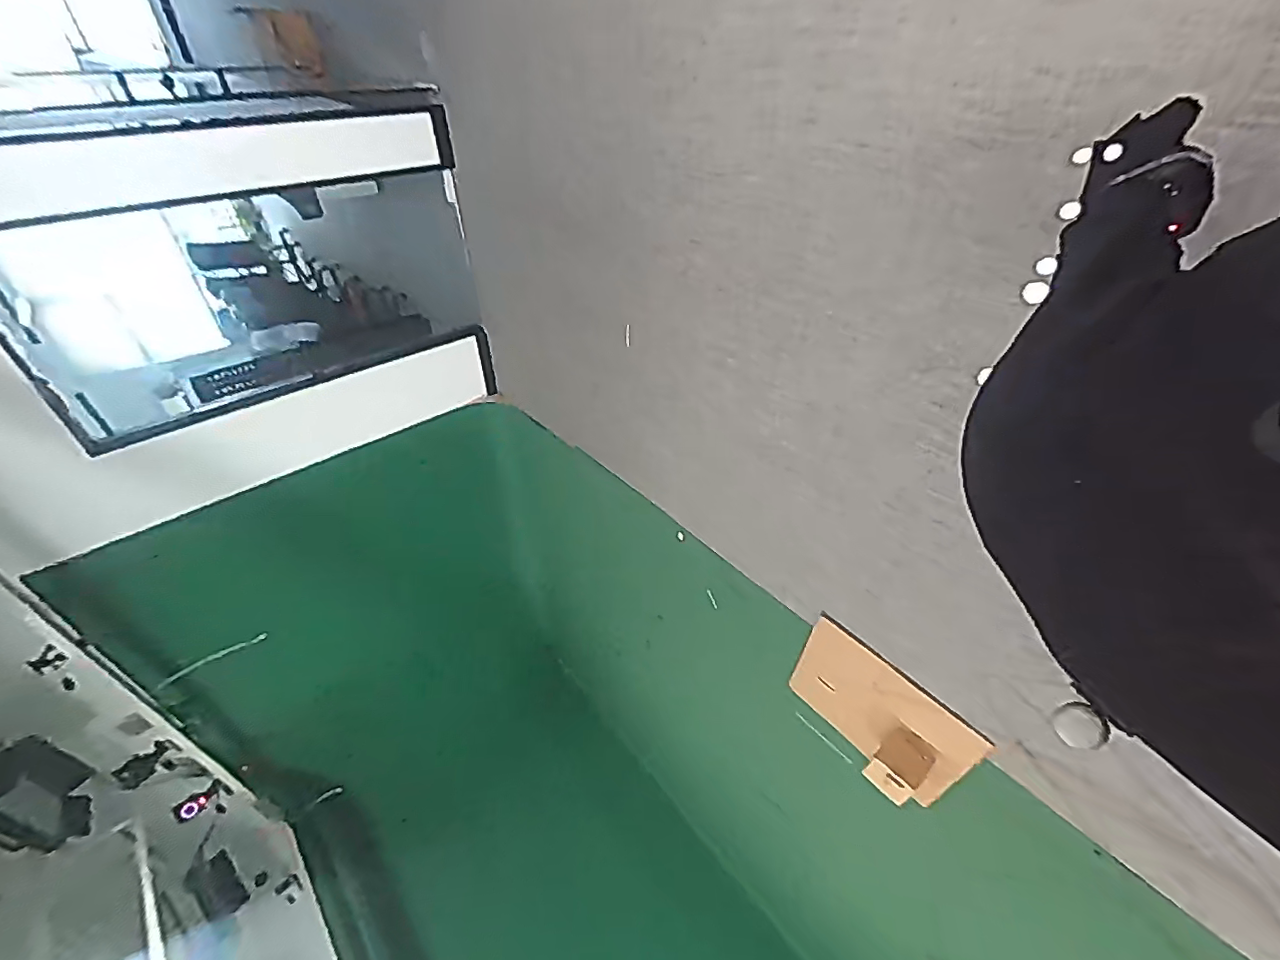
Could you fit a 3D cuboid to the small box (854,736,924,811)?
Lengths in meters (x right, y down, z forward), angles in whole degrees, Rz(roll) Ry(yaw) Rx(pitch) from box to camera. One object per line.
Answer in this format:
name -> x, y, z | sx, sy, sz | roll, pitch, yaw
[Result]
small box -> 0.973, 1.139, 2.106 | 0.168, 0.176, 0.179 | 38, 143, 31
